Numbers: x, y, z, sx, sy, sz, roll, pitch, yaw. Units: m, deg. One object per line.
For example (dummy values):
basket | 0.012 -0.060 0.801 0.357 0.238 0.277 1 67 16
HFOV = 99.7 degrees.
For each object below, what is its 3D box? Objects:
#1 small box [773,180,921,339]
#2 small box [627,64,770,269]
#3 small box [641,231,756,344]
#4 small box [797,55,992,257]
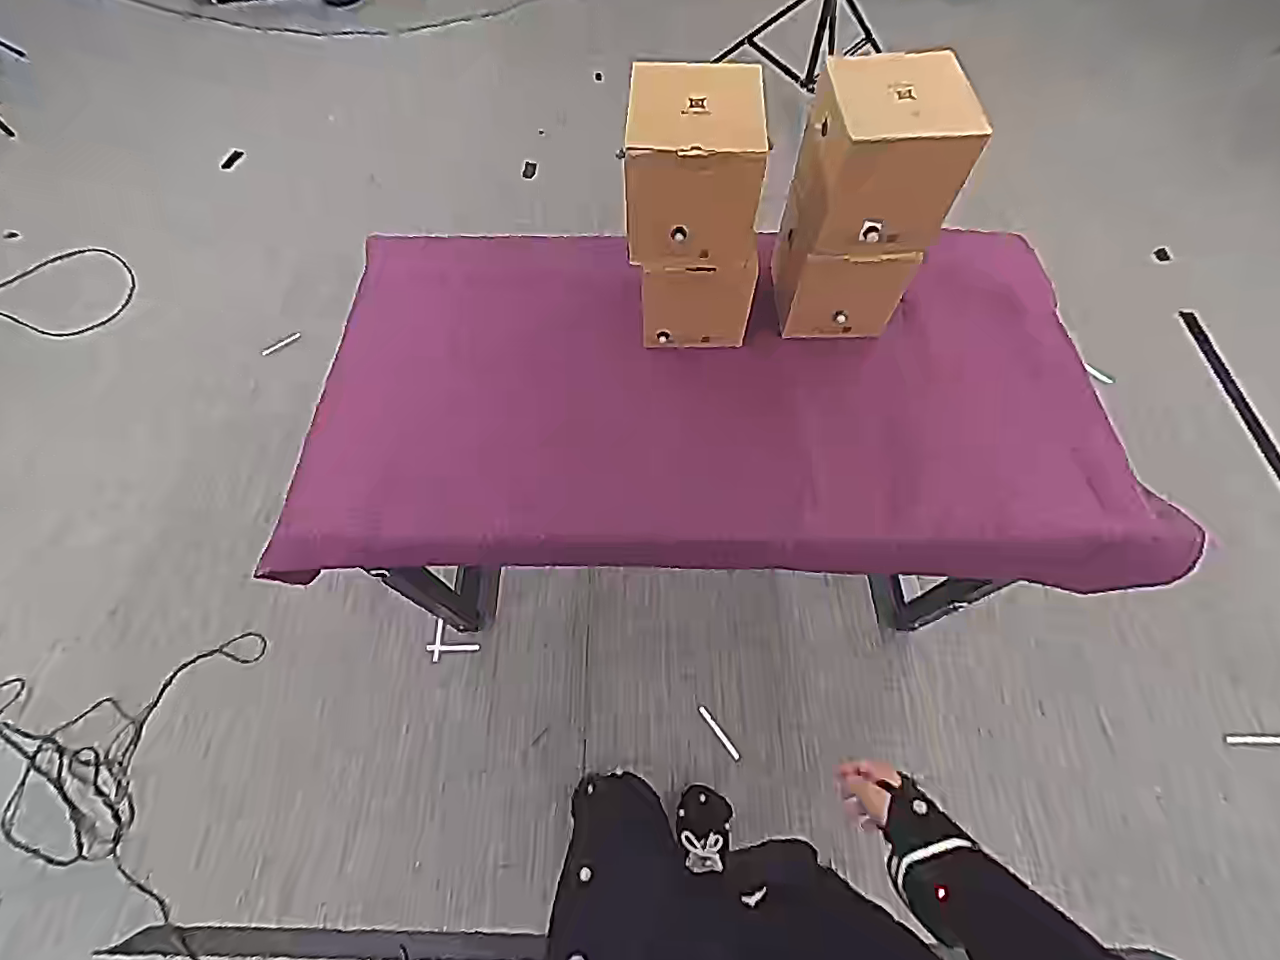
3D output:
small box | 0.317 -0.351 0.870 0.168 0.176 0.179 0 64 2
small box | 0.070 -0.411 0.721 0.168 0.176 0.179 2 65 2
small box | 0.086 -0.334 0.864 0.168 0.176 0.179 0 63 1
small box | 0.320 -0.428 0.726 0.168 0.176 0.179 -3 65 0
